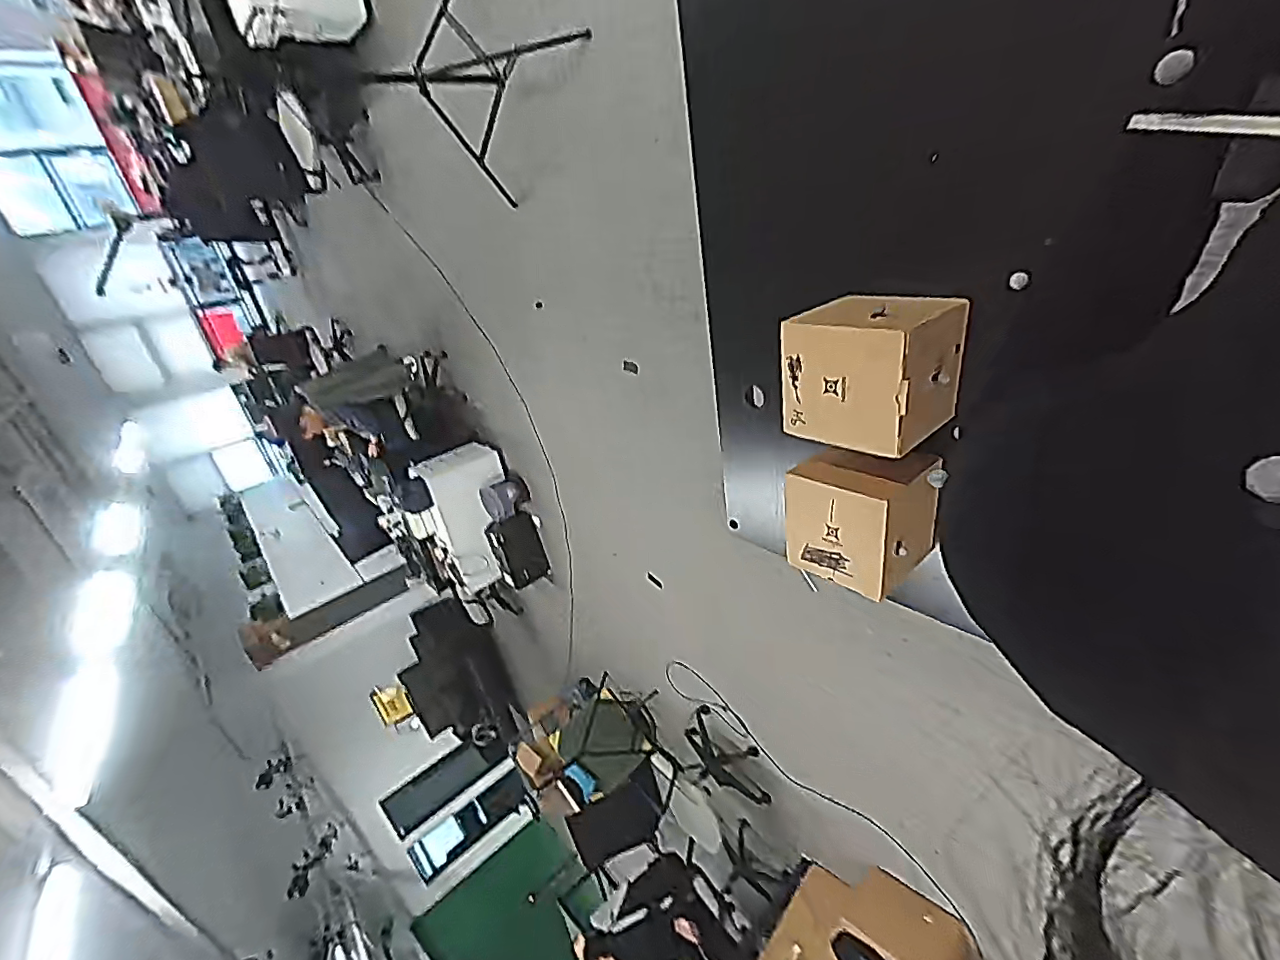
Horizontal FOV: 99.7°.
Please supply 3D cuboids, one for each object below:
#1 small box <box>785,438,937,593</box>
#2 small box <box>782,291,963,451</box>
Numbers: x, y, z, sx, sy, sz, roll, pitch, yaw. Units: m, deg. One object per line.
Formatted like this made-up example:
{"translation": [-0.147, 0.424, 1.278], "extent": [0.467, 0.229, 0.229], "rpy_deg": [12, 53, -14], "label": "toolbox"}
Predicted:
{"translation": [0.351, 0.041, 0.864], "extent": [0.168, 0.176, 0.179], "rpy_deg": [21, 130, 45], "label": "small box"}
{"translation": [0.321, -0.162, 0.754], "extent": [0.179, 0.176, 0.168], "rpy_deg": [22, 131, 45], "label": "small box"}
